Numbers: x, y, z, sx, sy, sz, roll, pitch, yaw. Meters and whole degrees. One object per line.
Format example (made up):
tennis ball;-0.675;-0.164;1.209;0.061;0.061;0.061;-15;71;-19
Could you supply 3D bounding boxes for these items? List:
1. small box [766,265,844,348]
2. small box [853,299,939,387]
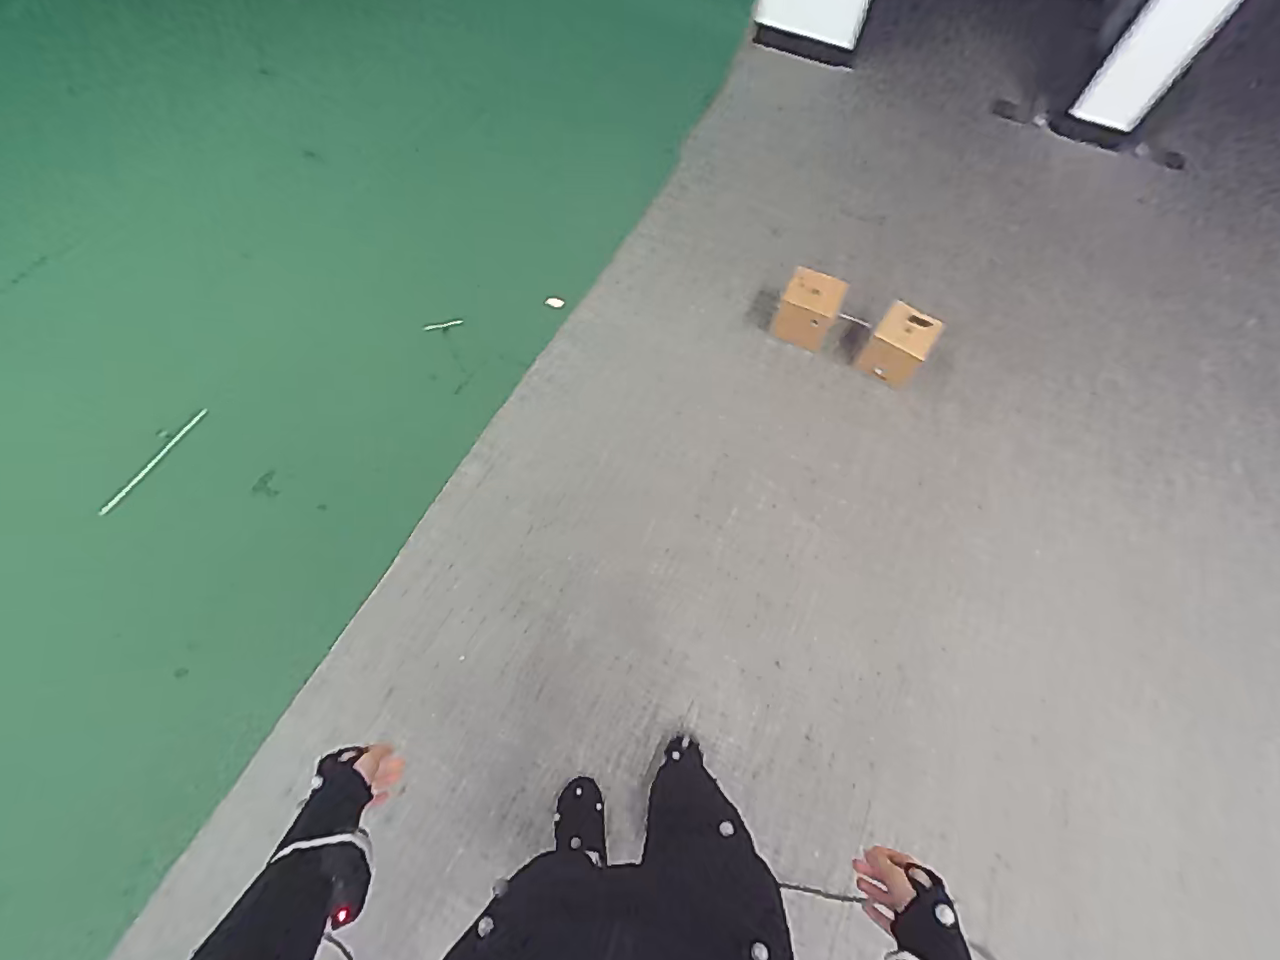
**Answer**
small box;0.539;-0.564;1.781;0.179;0.176;0.168;24;66;9
small box;0.812;-0.435;1.732;0.168;0.176;0.179;33;69;13
